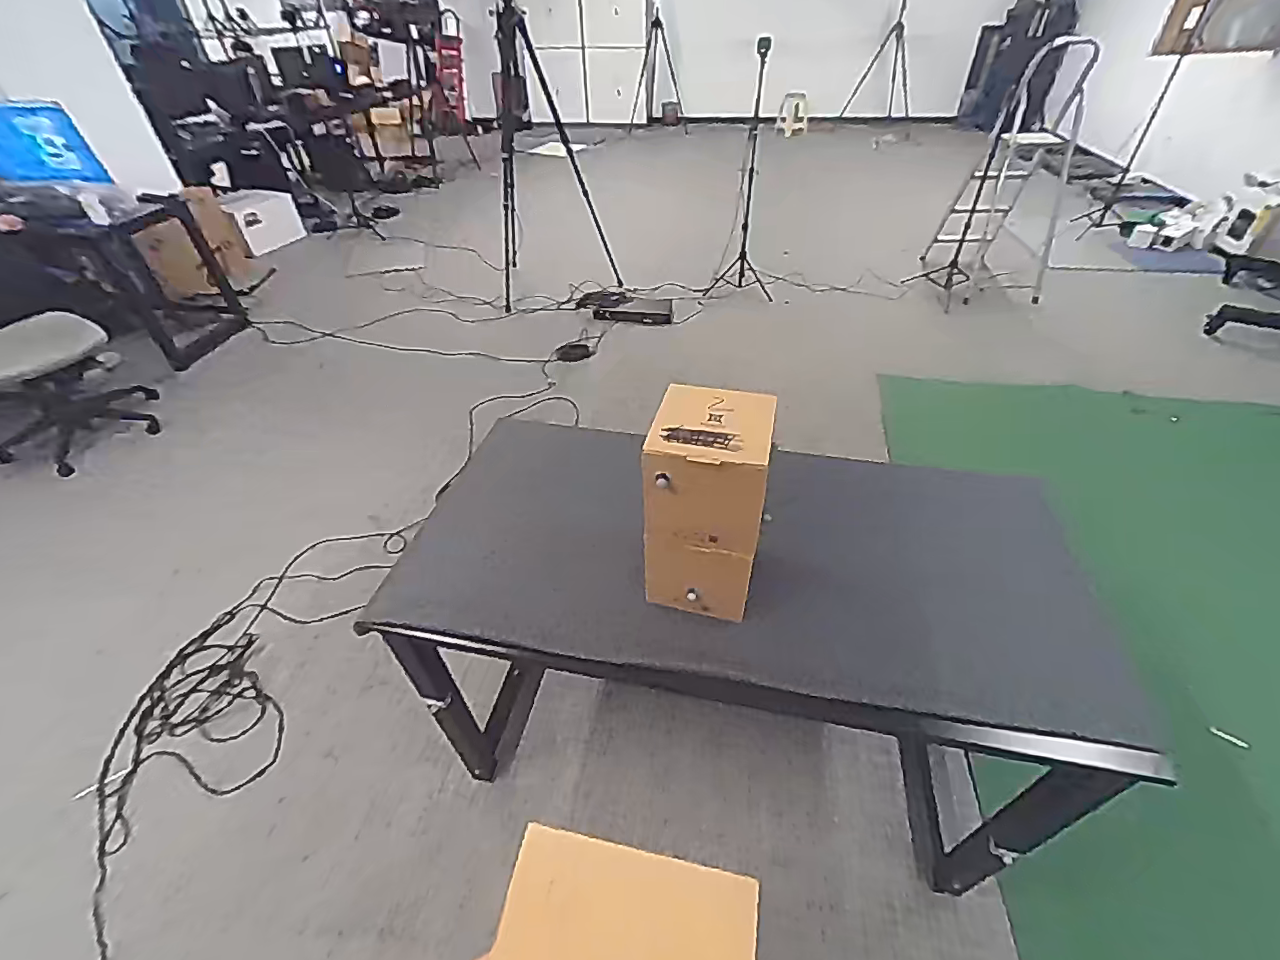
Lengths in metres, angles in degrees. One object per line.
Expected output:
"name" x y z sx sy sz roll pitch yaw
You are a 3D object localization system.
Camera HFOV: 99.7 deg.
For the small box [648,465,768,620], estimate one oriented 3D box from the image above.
"small box" 0.113 0.103 0.913 0.168 0.176 0.179 10 43 14
